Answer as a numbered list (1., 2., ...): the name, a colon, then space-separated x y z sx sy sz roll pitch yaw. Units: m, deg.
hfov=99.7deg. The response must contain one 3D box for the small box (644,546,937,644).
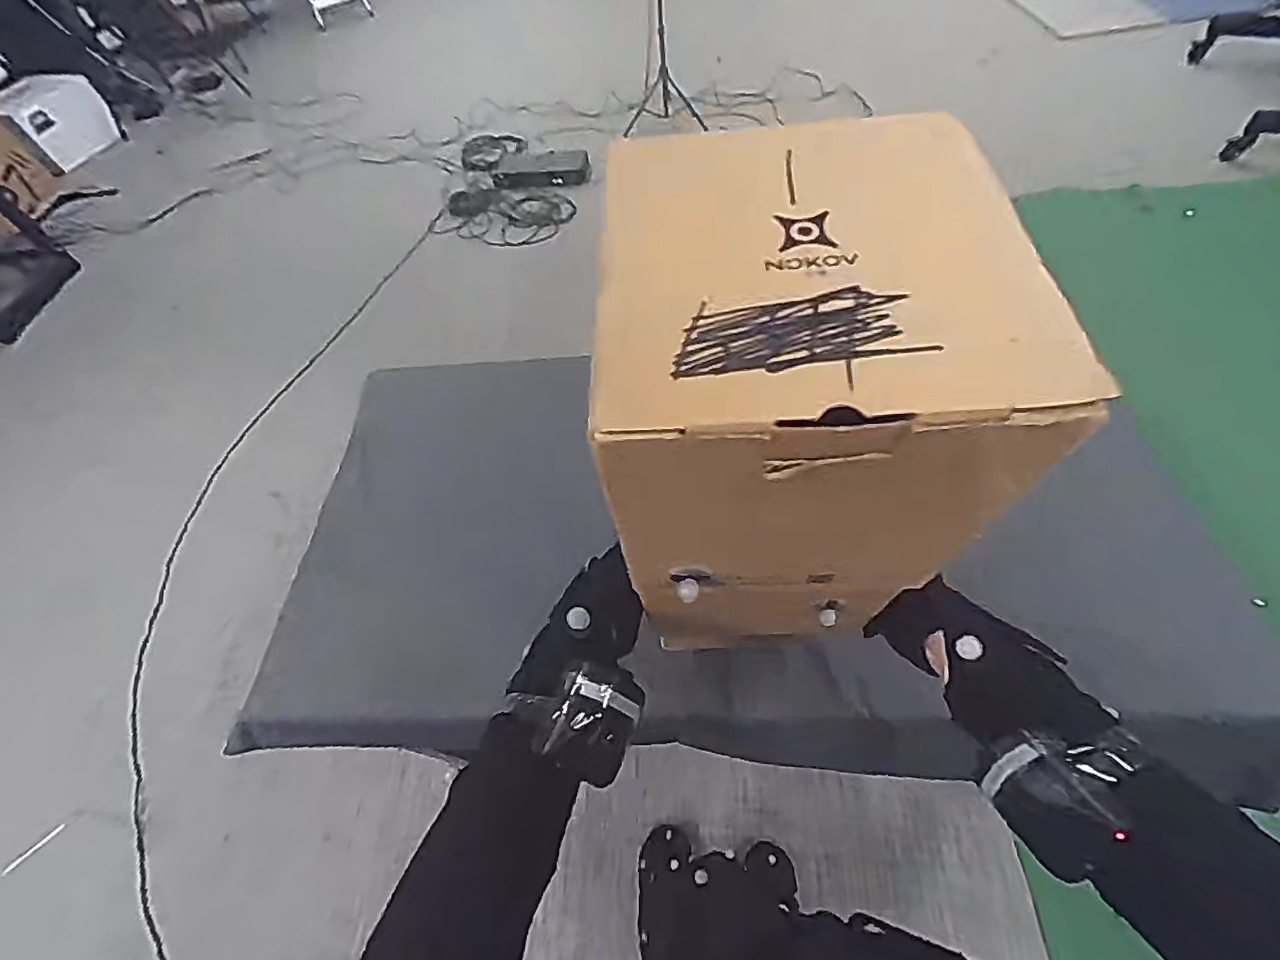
1. small box: 0.090 0.023 0.426 0.179 0.176 0.168 -7 60 2

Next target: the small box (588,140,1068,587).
1. small box: 0.071 -0.046 0.296 0.168 0.176 0.179 -2 59 5
